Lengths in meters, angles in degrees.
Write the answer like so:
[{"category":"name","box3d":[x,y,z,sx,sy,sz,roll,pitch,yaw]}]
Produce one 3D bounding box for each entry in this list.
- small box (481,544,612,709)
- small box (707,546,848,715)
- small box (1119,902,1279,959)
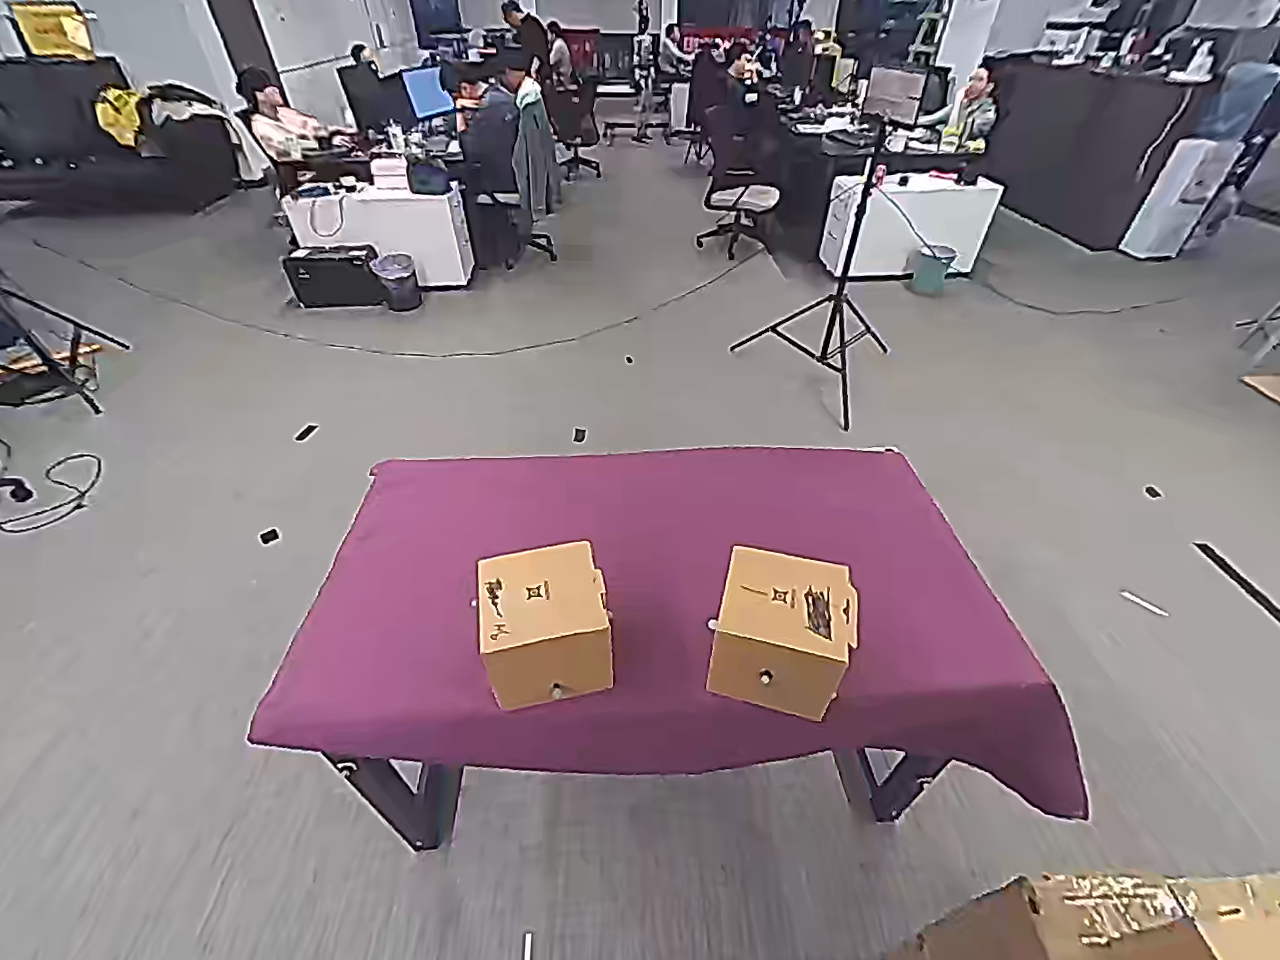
[{"category":"small box","box3d":[-0.143,0.226,0.836,0.179,0.176,0.168,-8,41,-11]},{"category":"small box","box3d":[0.208,0.232,0.828,0.179,0.176,0.168,10,42,13]},{"category":"small box","box3d":[0.688,0.583,0.581,0.168,0.176,0.179,-6,43,-2]}]
